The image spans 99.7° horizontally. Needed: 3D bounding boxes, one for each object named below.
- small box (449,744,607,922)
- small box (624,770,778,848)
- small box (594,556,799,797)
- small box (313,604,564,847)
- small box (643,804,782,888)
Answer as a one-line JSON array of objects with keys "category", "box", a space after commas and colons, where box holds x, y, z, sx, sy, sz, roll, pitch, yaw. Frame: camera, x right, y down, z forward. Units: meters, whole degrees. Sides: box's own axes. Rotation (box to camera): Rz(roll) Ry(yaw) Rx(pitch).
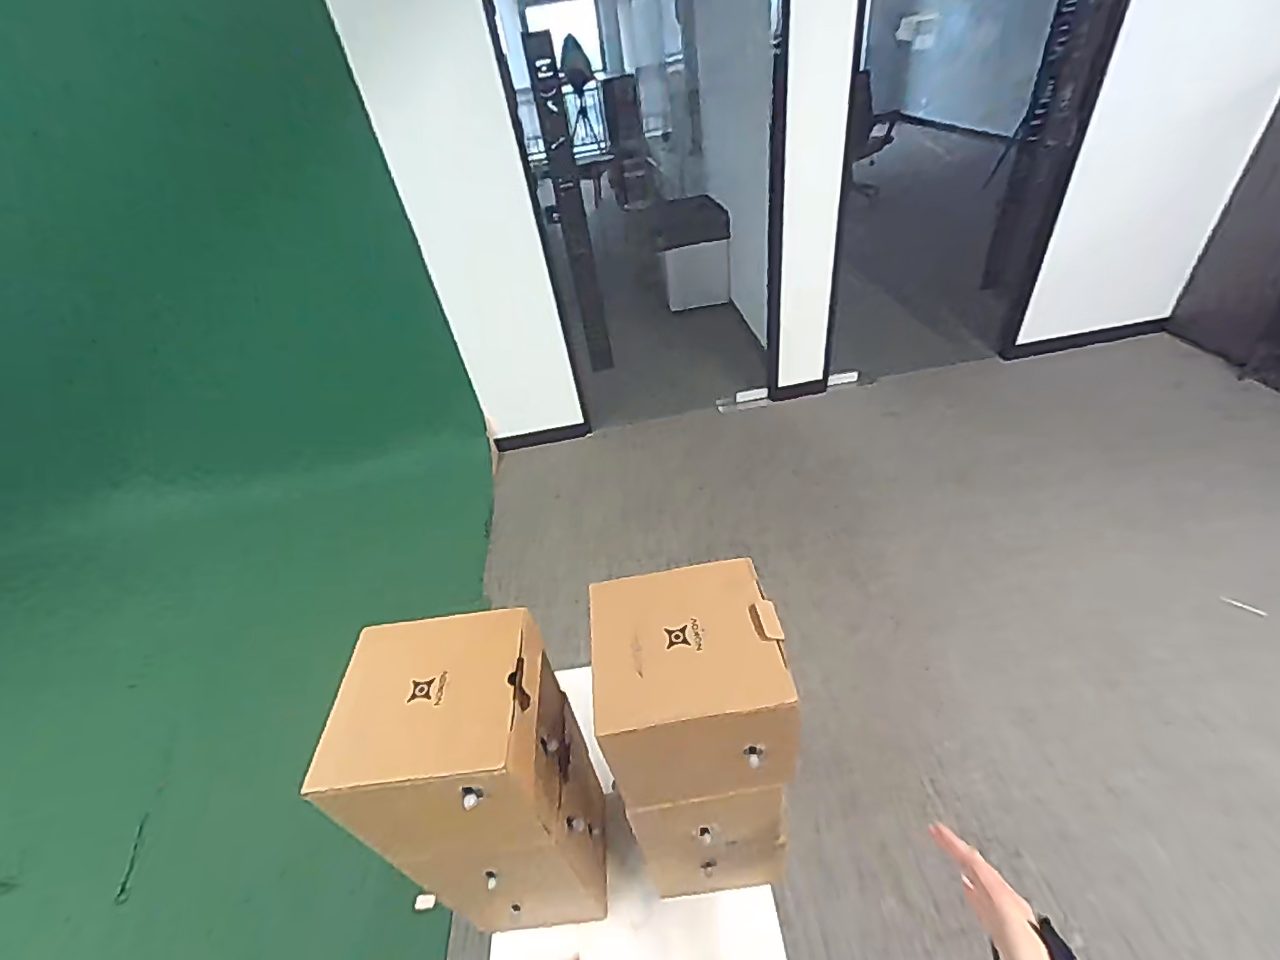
[{"category": "small box", "box": [-0.146, 0.504, 0.771, 0.179, 0.176, 0.168, -7, 40, 0]}, {"category": "small box", "box": [0.069, 0.332, 0.673, 0.168, 0.176, 0.179, -10, 40, 0]}, {"category": "small box", "box": [0.054, 0.207, 0.568, 0.179, 0.176, 0.168, -10, 40, 2]}, {"category": "small box", "box": [-0.185, 0.255, 0.561, 0.179, 0.176, 0.168, -7, 39, 1]}, {"category": "small box", "box": [0.097, 0.458, 0.775, 0.179, 0.176, 0.168, -9, 40, 2]}]
